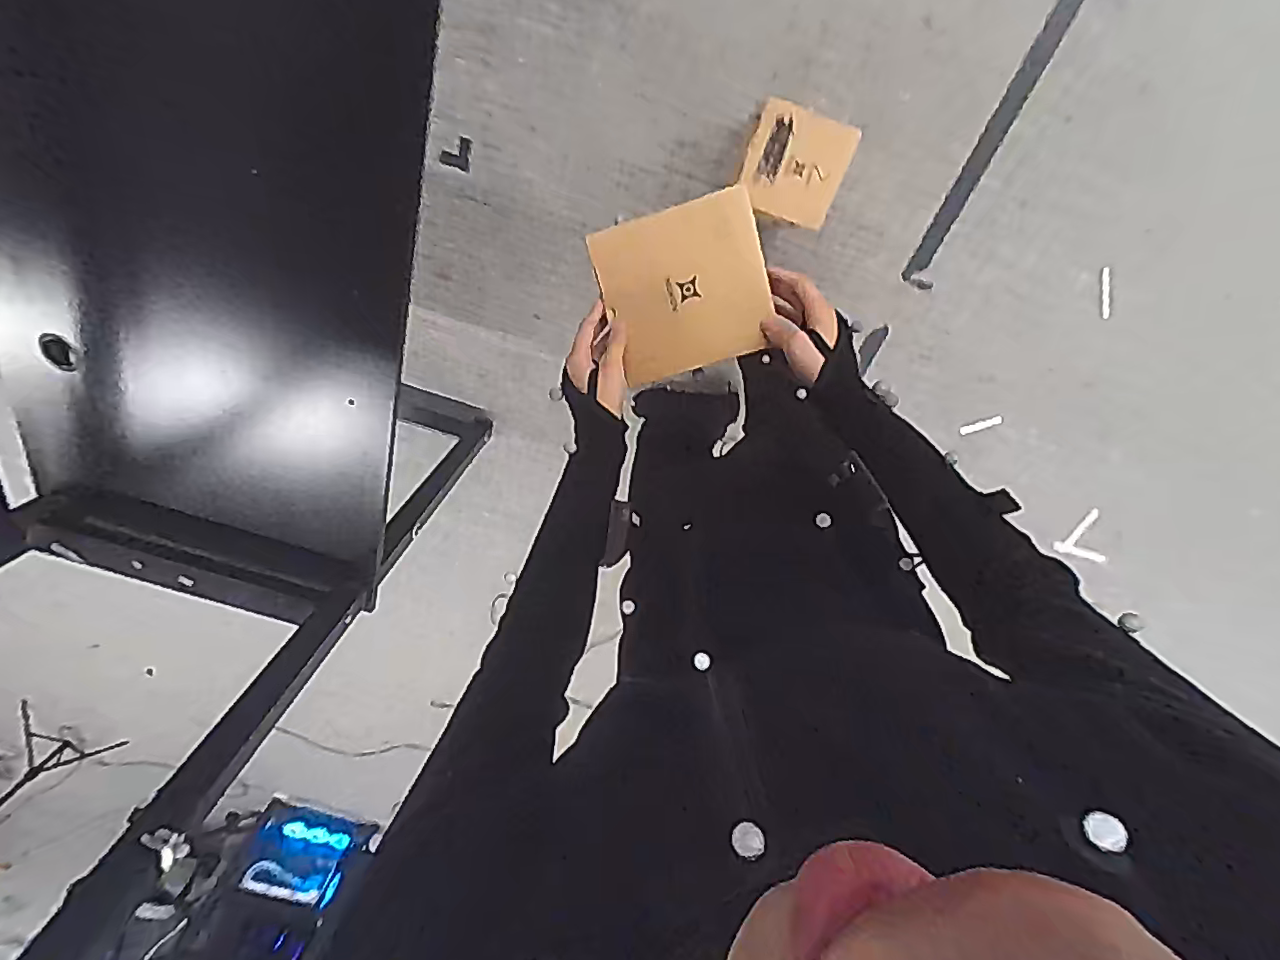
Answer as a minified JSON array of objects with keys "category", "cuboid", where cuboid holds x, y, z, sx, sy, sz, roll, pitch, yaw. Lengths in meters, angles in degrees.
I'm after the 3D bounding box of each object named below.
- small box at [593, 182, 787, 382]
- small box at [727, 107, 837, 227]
[{"category":"small box","cuboid":[0.060,-0.226,0.645,0.179,0.176,0.168,-14,104,10]},{"category":"small box","cuboid":[0.290,-0.666,1.157,0.168,0.176,0.179,16,121,-3]}]
